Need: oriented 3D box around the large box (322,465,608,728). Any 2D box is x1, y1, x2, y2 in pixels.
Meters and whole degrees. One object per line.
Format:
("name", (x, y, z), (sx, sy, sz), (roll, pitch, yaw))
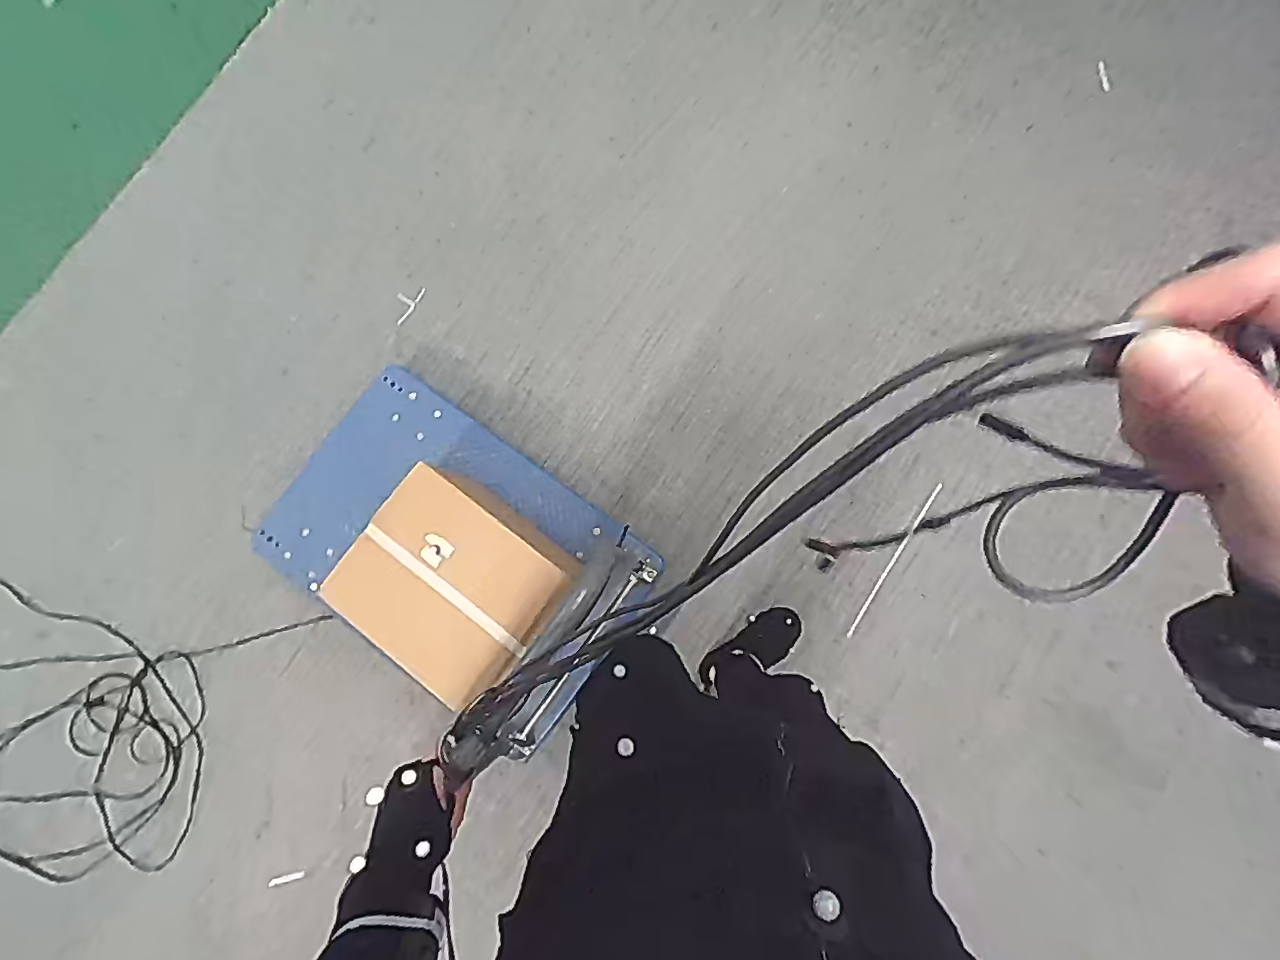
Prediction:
("large box", (-0.328, 0.223, 1.125), (0.408, 0.320, 0.320), (36, 85, 8))
